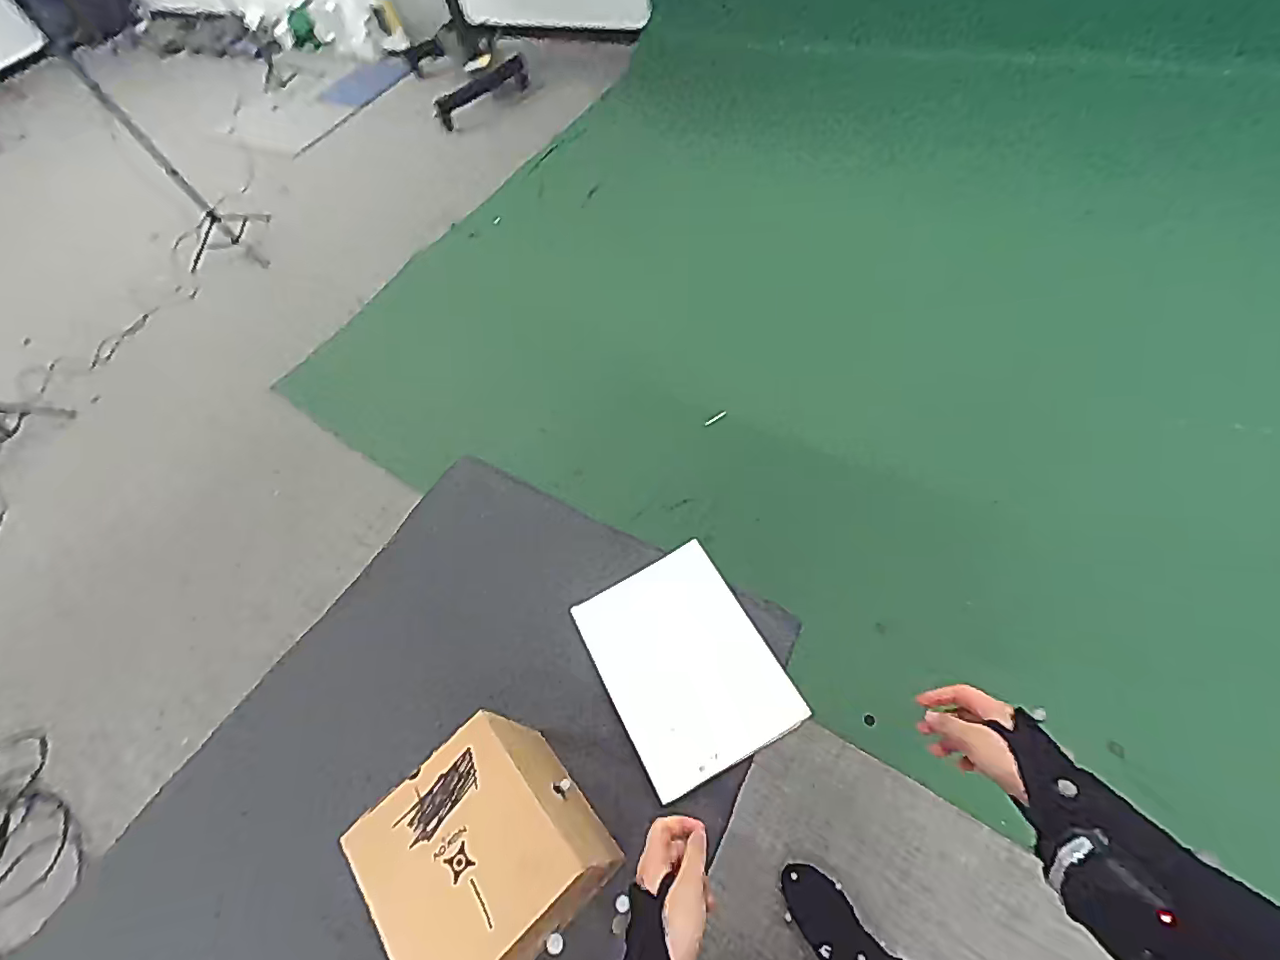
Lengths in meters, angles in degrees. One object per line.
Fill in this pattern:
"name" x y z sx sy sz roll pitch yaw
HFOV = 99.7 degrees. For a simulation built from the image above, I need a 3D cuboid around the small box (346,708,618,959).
"small box" -0.148 0.370 0.550 0.168 0.176 0.179 -41 60 -13
